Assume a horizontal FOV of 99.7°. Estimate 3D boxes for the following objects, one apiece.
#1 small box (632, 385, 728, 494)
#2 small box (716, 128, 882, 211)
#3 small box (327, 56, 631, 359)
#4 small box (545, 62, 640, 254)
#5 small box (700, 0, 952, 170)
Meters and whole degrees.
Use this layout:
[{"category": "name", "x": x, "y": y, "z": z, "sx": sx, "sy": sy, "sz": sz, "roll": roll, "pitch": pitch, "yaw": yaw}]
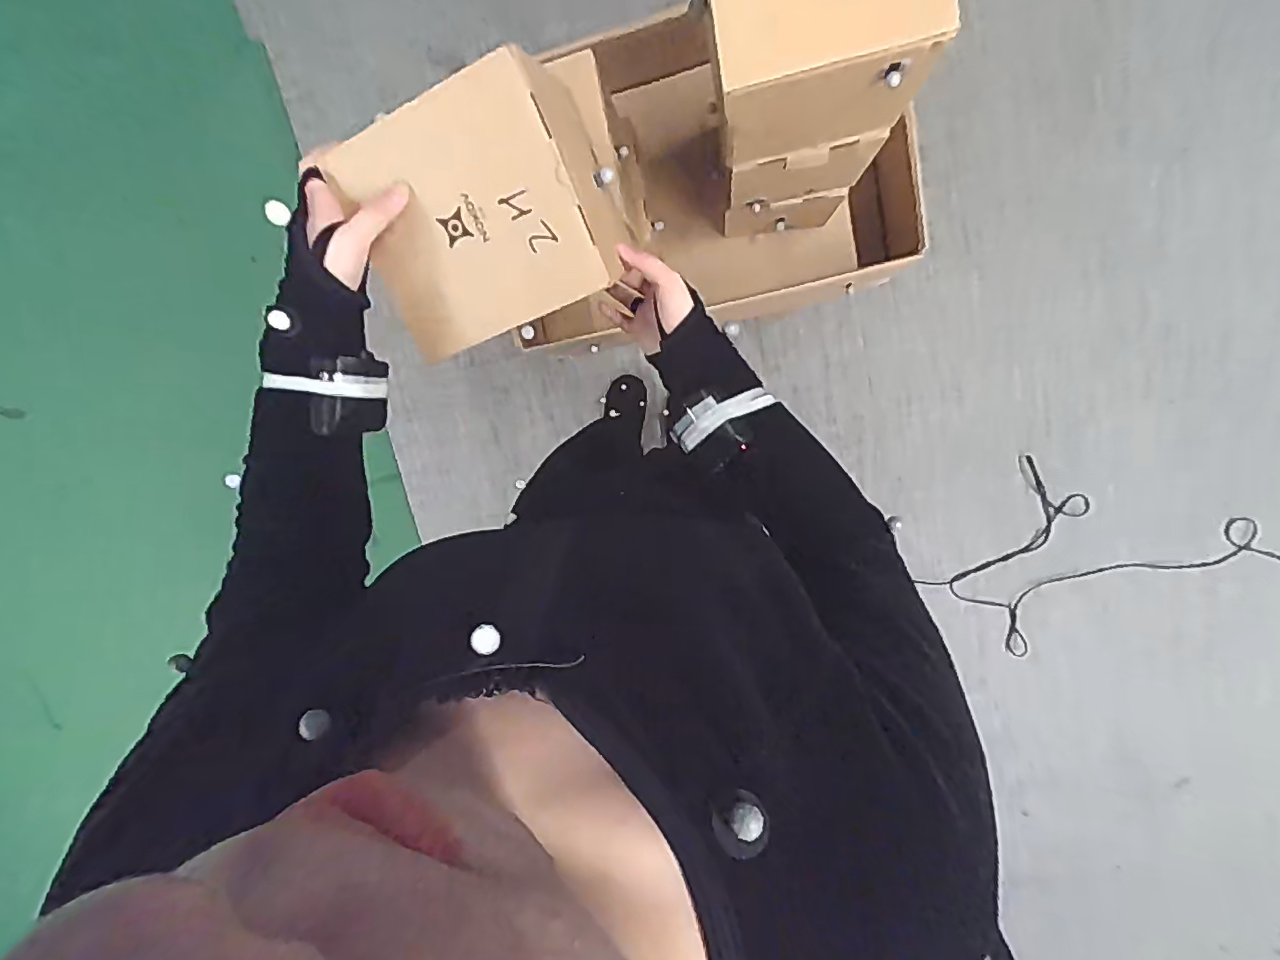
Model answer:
[{"category": "small box", "x": 0.097, "y": -0.100, "z": 1.372, "sx": 0.179, "sy": 0.176, "sz": 0.168, "roll": -38, "pitch": 64, "yaw": -19}, {"category": "small box", "x": 0.174, "y": -0.437, "z": 0.639, "sx": 0.168, "sy": 0.176, "sz": 0.179, "roll": -8, "pitch": 100, "yaw": 10}, {"category": "small box", "x": -0.121, "y": -0.230, "z": 0.487, "sx": 0.179, "sy": 0.176, "sz": 0.168, "roll": -17, "pitch": 114, "yaw": 14}, {"category": "small box", "x": -0.102, "y": -0.375, "z": 0.691, "sx": 0.168, "sy": 0.176, "sz": 0.179, "roll": -10, "pitch": 100, "yaw": 10}, {"category": "small box", "x": 0.147, "y": -0.405, "z": 0.481, "sx": 0.179, "sy": 0.176, "sz": 0.168, "roll": -9, "pitch": 101, "yaw": 9}]
